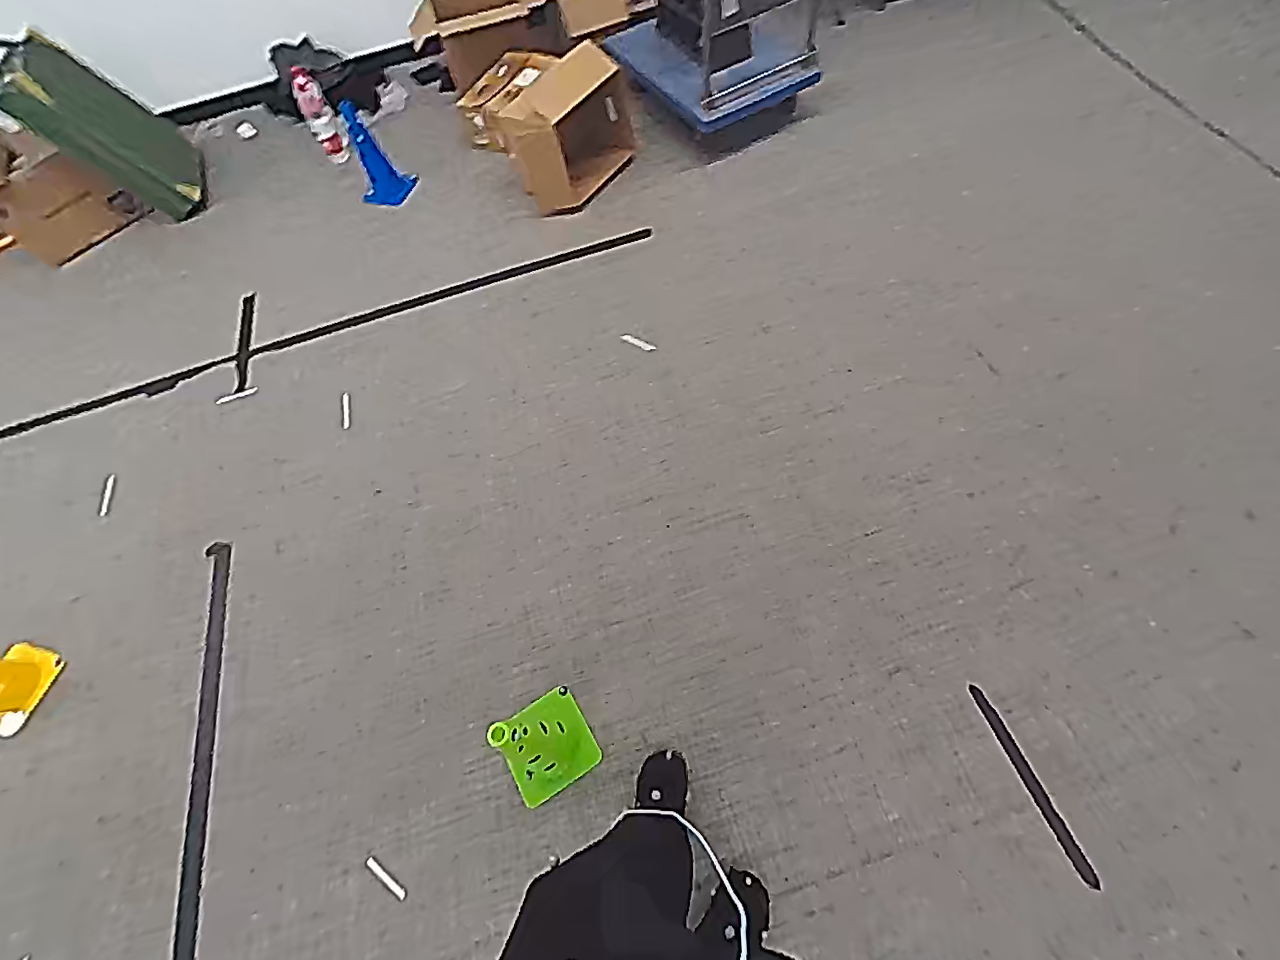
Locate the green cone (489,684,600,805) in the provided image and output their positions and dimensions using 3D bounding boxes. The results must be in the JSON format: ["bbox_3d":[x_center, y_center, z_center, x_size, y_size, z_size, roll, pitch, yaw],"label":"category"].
[{"bbox_3d":[-0.237,0.536,1.116,0.200,0.368,0.202,-32,64,-9],"label":"green cone"}]
